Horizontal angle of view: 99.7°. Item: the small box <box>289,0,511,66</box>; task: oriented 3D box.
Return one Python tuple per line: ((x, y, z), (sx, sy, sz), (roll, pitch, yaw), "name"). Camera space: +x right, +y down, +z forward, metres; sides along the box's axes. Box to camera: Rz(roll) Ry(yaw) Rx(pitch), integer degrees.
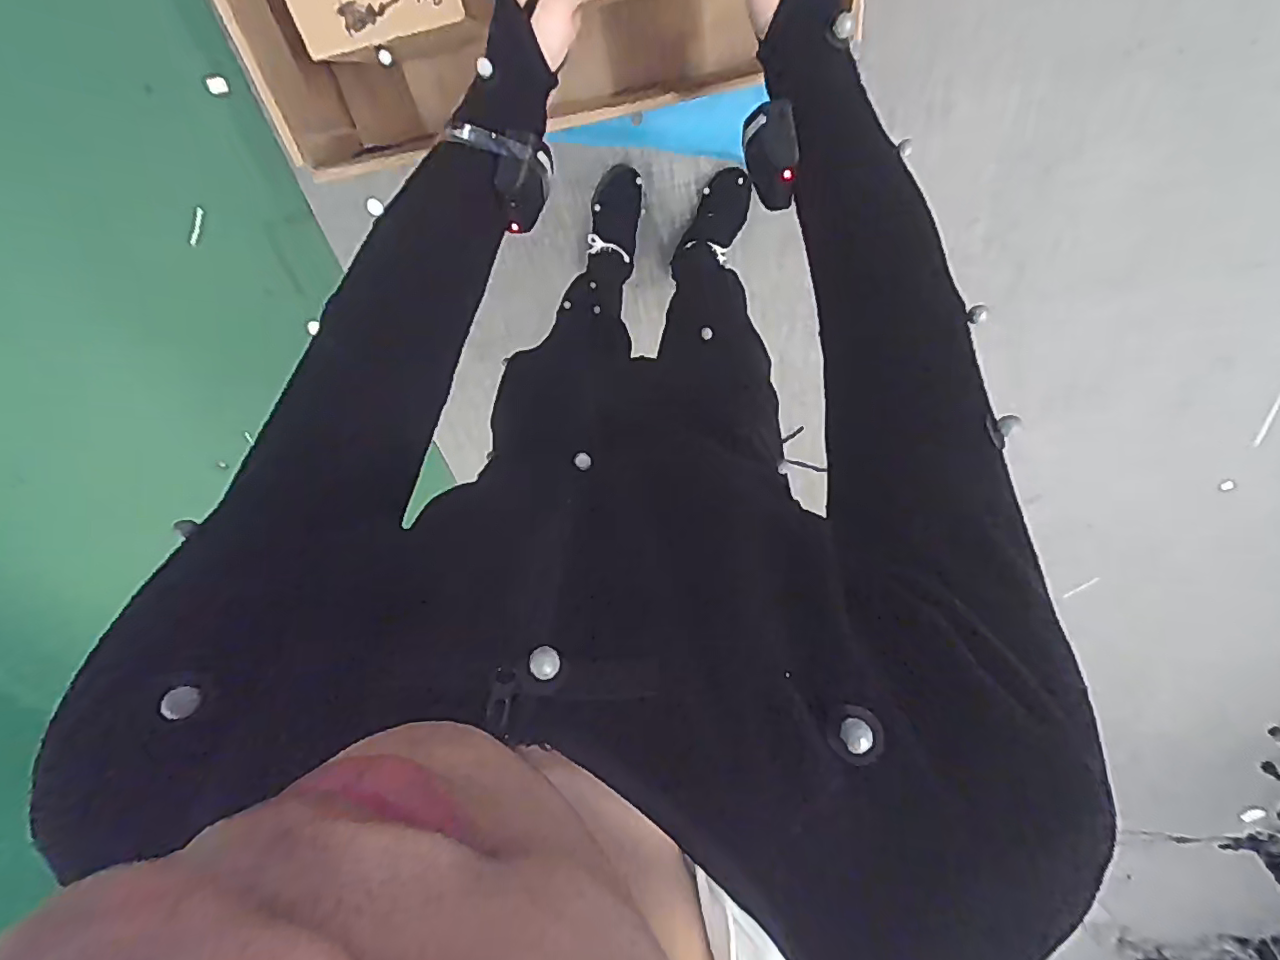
((-0.248, -0.535, 0.533), (0.168, 0.176, 0.179), (-6, 125, 11), "small box")
